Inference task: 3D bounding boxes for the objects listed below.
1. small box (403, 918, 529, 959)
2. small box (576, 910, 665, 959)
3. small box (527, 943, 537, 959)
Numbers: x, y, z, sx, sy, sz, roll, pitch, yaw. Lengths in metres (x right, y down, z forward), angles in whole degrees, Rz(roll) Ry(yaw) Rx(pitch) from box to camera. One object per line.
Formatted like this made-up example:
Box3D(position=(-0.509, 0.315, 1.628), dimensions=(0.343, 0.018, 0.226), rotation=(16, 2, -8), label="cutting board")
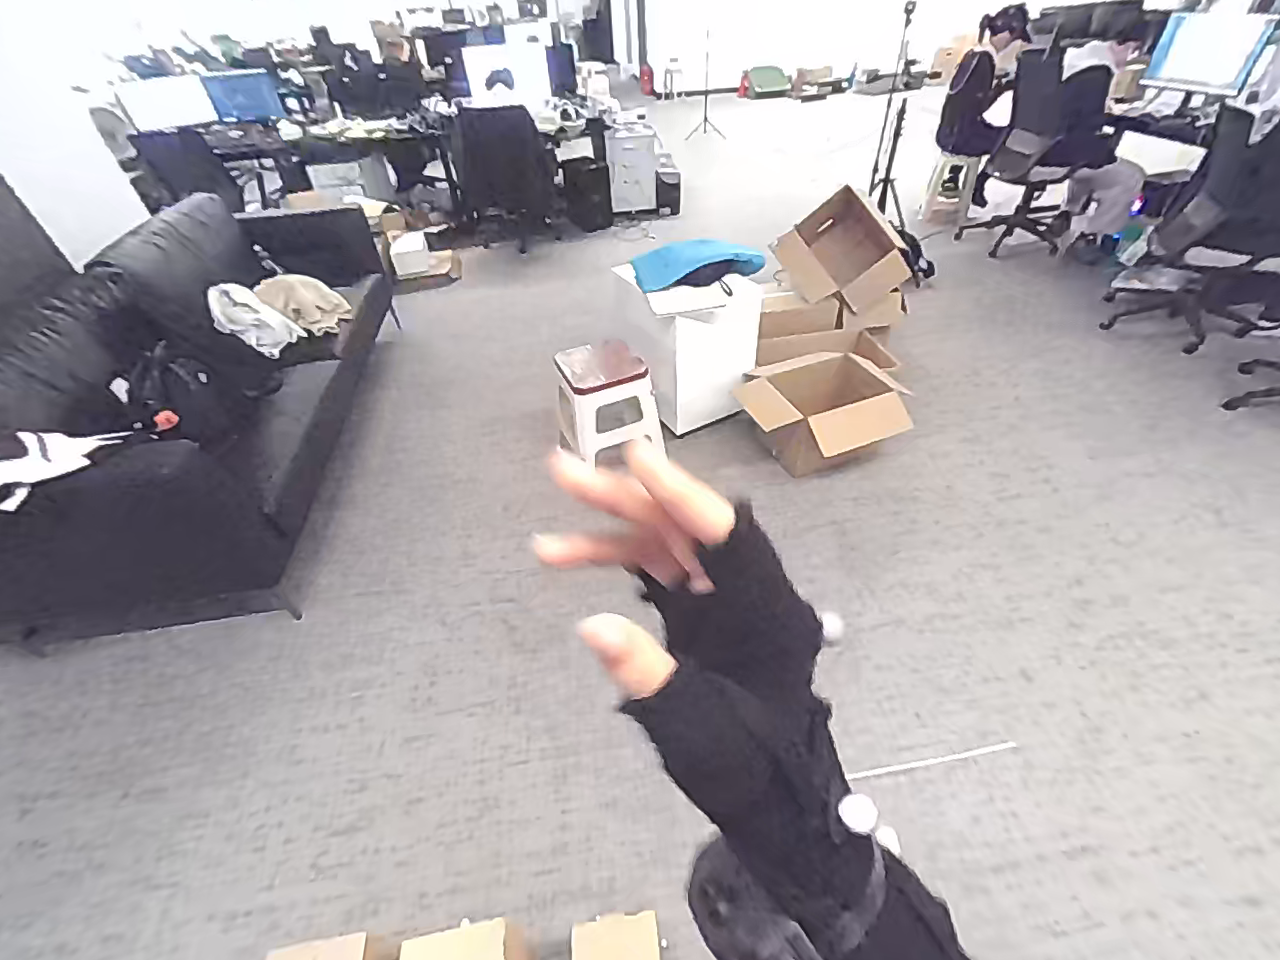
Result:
Box3D(position=(-0.290, 0.873, 0.909), dimensions=(0.179, 0.176, 0.168), rotation=(-9, 43, -6), label="small box")
Box3D(position=(-0.032, 0.961, 1.036), dimensions=(0.168, 0.176, 0.179), rotation=(-7, 43, -3), label="small box")
Box3D(position=(-0.285, 0.997, 1.015), dimensions=(0.168, 0.176, 0.179), rotation=(-10, 42, -4), label="small box")
